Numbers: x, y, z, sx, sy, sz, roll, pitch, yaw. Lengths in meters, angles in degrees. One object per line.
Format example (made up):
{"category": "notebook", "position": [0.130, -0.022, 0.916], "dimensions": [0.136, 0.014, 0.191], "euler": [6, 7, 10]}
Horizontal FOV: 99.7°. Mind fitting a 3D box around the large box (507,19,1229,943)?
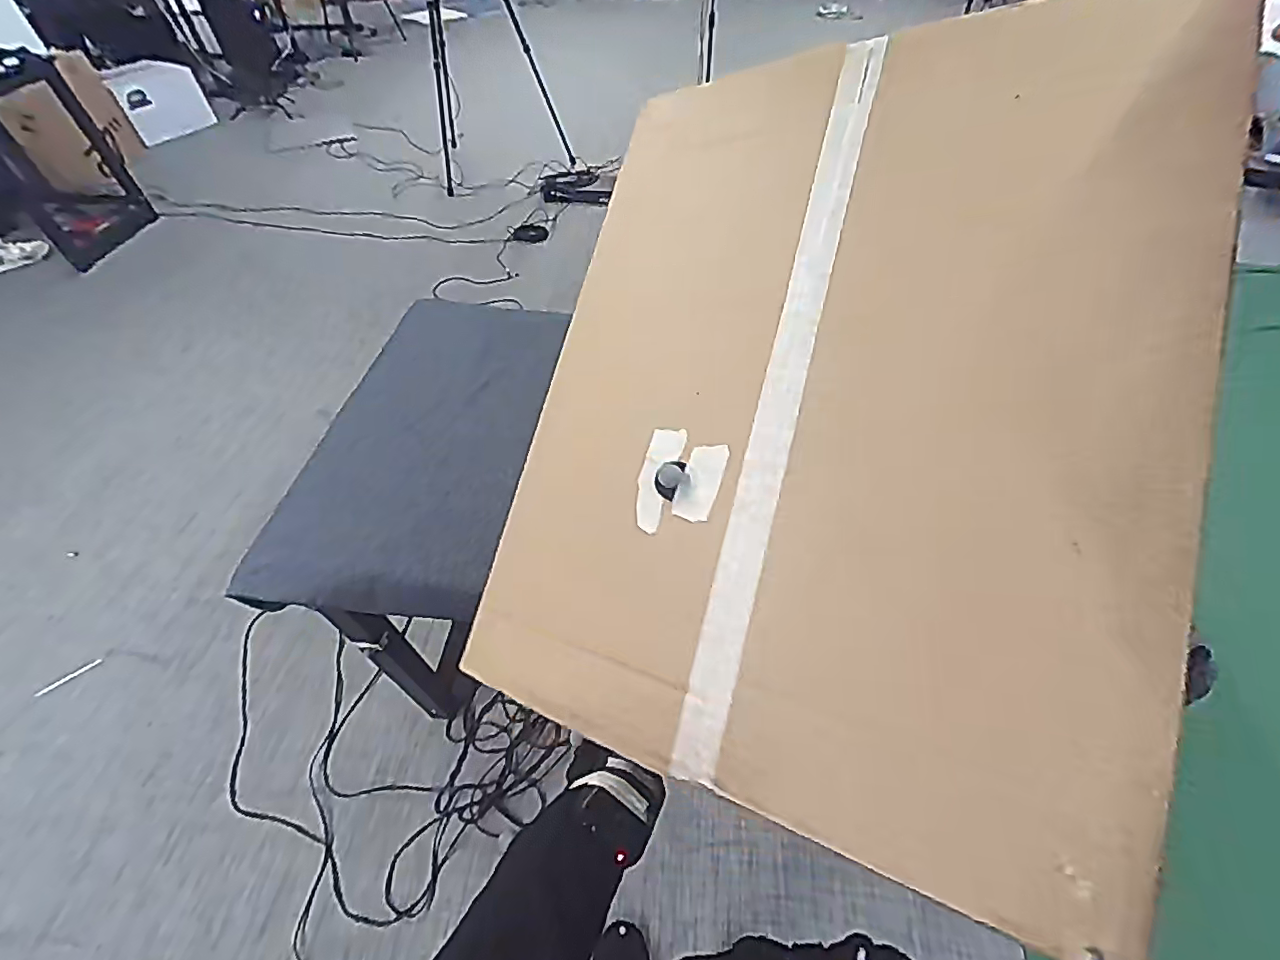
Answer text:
{"category": "large box", "position": [0.158, -0.011, 0.420], "dimensions": [0.320, 0.320, 0.408], "euler": [9, 81, 30]}
